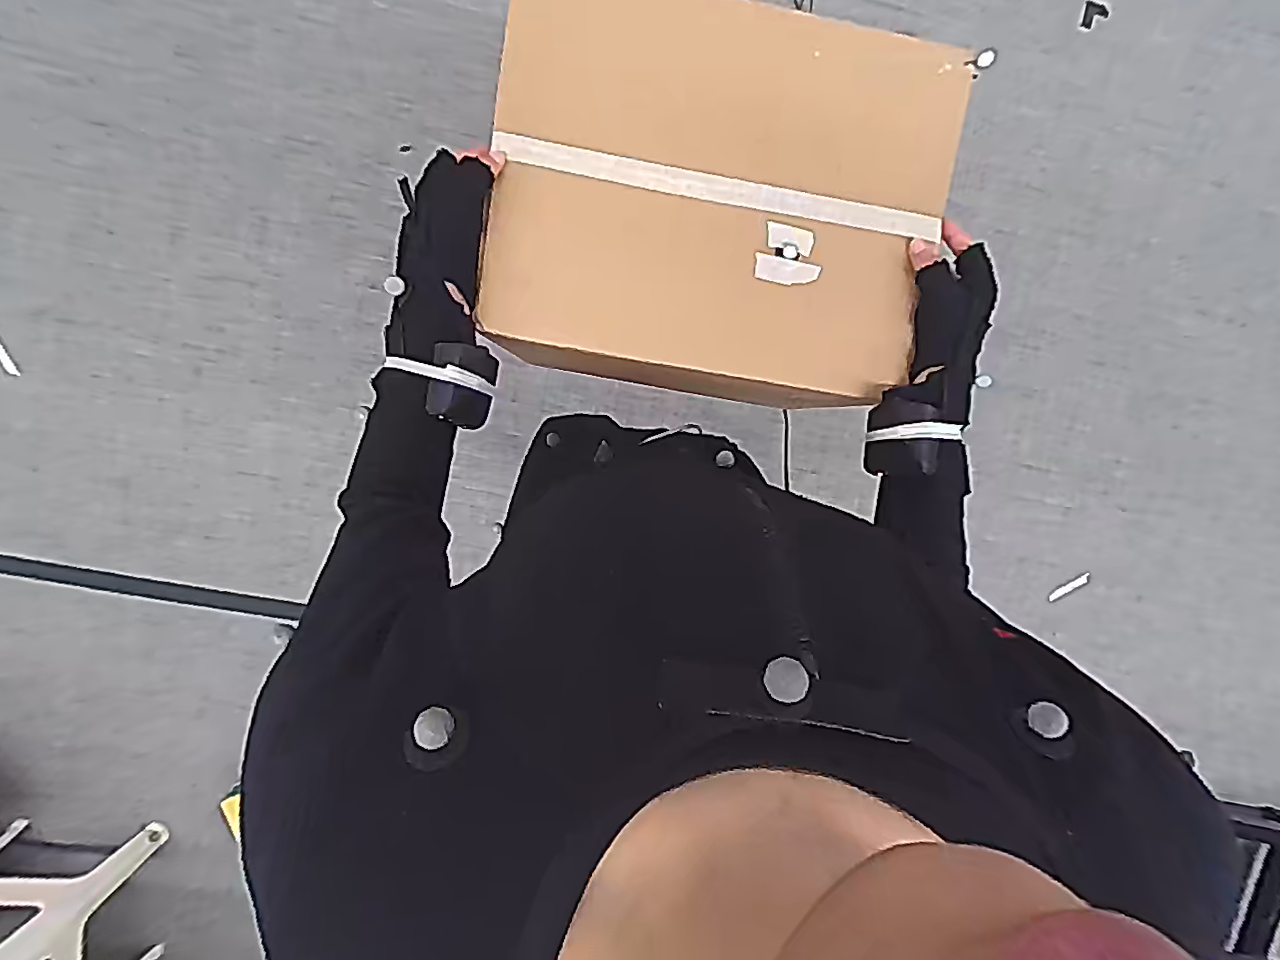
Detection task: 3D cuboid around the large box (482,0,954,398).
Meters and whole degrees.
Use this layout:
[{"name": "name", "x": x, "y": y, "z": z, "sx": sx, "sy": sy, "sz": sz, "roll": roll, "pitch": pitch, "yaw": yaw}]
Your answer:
[{"name": "large box", "x": 0.059, "y": -0.282, "z": 0.640, "sx": 0.408, "sy": 0.320, "sz": 0.320, "roll": 9, "pitch": 97, "yaw": -5}]
